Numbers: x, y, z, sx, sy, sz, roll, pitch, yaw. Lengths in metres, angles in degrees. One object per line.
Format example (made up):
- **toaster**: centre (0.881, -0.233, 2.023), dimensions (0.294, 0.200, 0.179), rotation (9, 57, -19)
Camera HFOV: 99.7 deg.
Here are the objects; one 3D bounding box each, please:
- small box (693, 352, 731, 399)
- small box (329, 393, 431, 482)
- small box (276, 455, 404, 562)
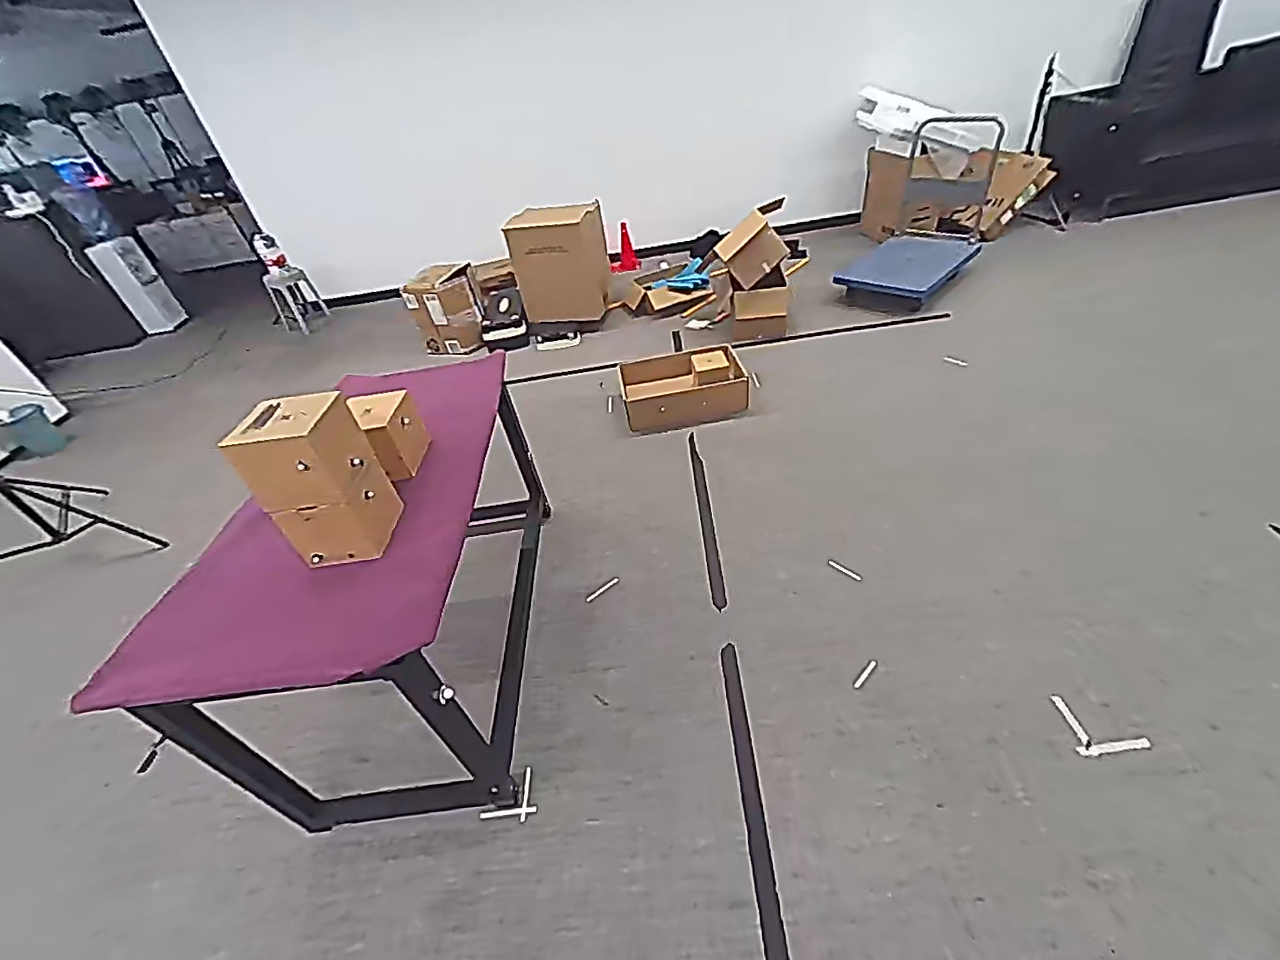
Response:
- **small box**: centre (0.371, -0.531, 2.780), dimensions (0.168, 0.176, 0.179), rotation (-10, 38, 1)
- **small box**: centre (-0.679, -0.109, 1.442), dimensions (0.168, 0.176, 0.179), rotation (-7, 40, 4)
- **small box**: centre (-0.661, 0.069, 1.220), dimensions (0.168, 0.176, 0.179), rotation (-8, 38, 4)
